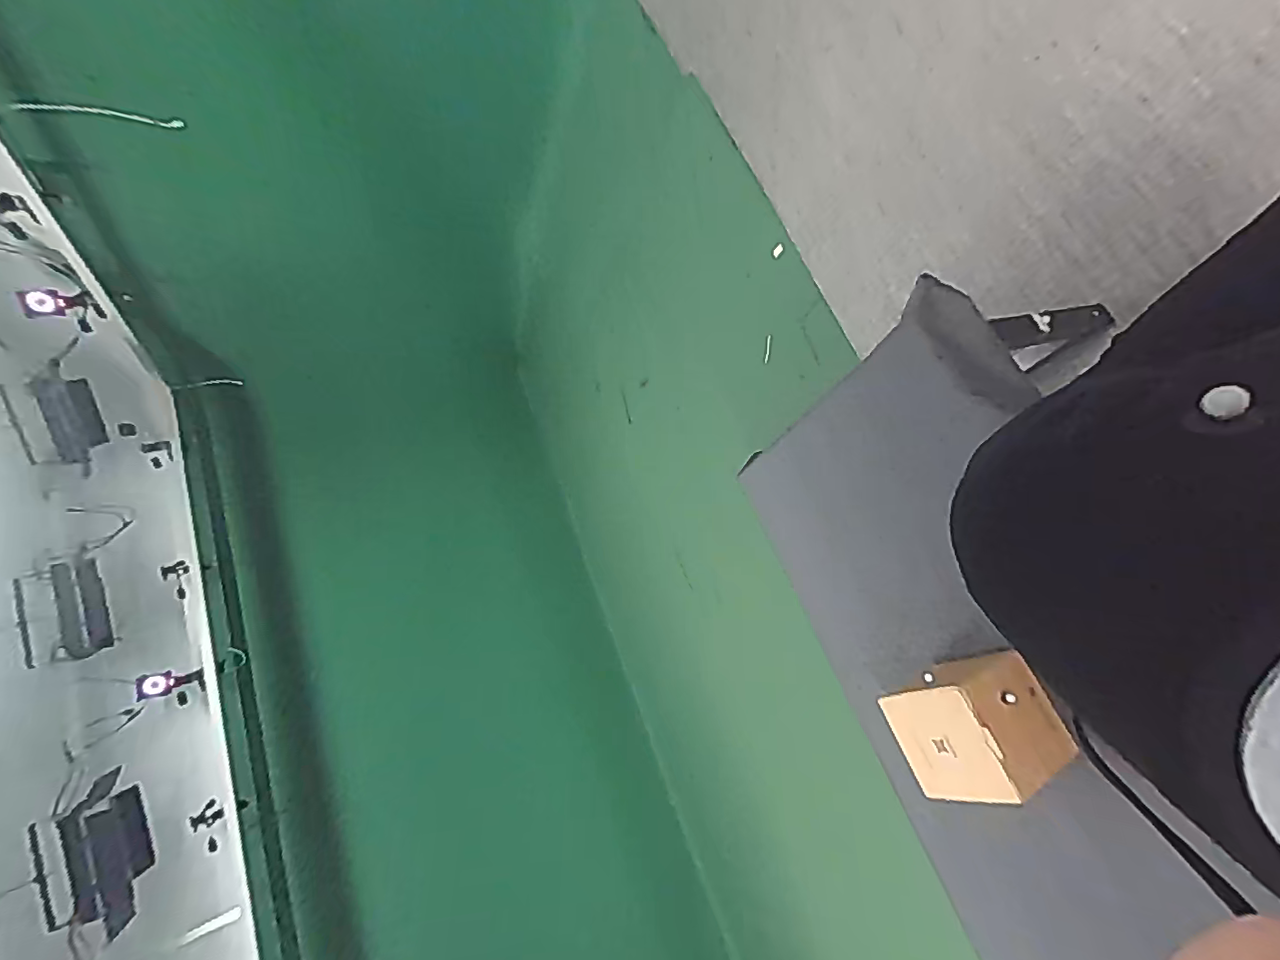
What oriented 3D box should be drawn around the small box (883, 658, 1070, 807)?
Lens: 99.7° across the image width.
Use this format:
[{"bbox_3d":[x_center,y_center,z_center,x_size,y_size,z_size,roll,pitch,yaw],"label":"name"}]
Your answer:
[{"bbox_3d":[0.551,0.406,0.884,0.168,0.176,0.179,68,152,19],"label":"small box"}]
